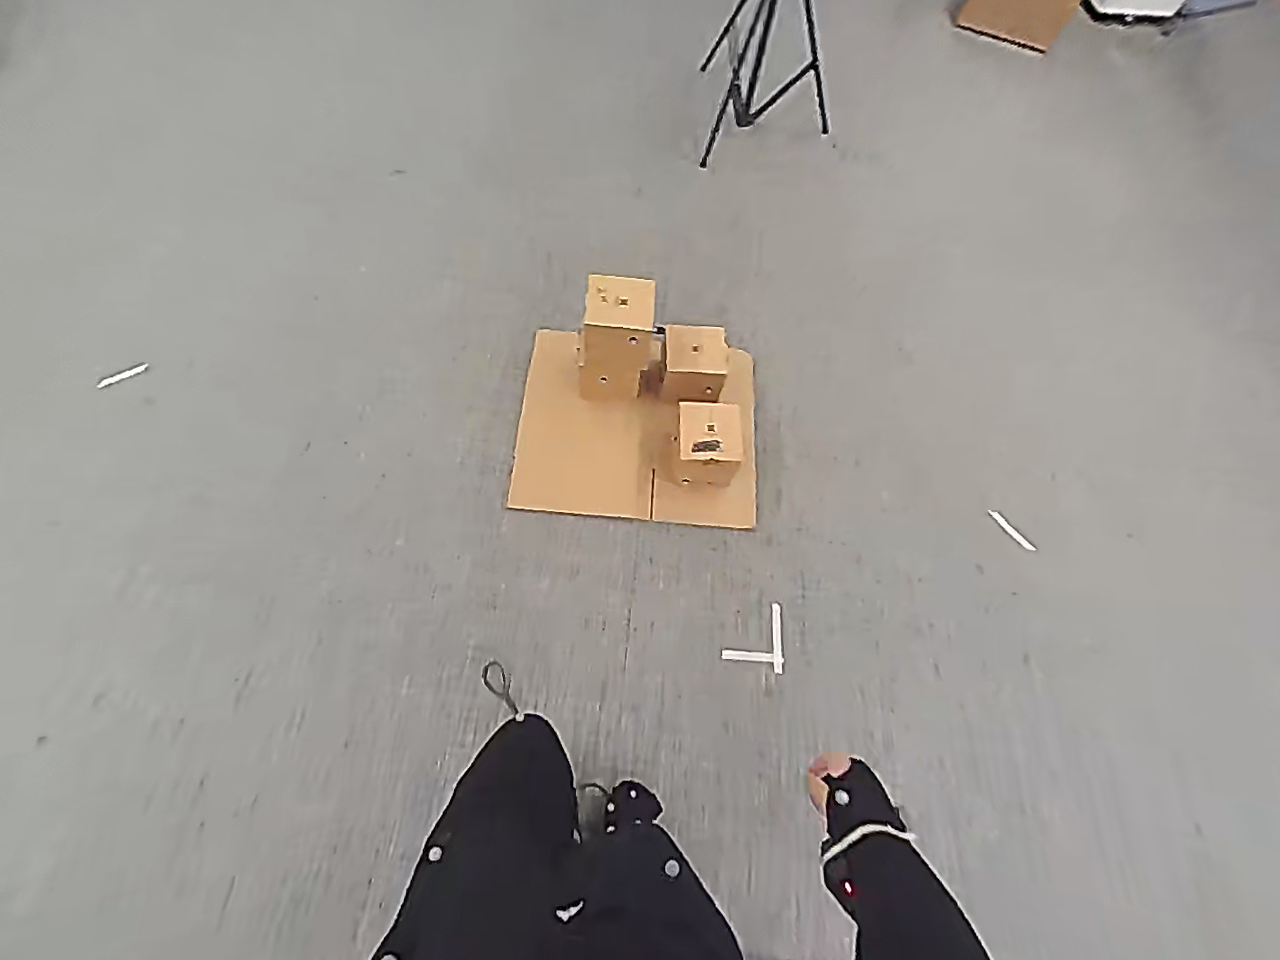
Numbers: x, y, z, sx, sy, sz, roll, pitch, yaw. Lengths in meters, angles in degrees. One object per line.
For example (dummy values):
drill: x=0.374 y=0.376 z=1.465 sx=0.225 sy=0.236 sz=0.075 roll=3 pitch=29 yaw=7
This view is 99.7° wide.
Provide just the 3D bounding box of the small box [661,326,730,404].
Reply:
small box: x=0.159 y=-0.335 z=1.602 sx=0.179 sy=0.176 sz=0.168 roll=1 pitch=66 yaw=-3

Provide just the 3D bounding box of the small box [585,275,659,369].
small box: x=-0.050 y=-0.413 z=1.434 sx=0.179 sy=0.176 sz=0.168 roll=5 pitch=65 yaw=-2

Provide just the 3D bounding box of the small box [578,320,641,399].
small box: x=-0.085 y=-0.350 z=1.585 sx=0.179 sy=0.176 sz=0.168 roll=1 pitch=67 yaw=-3

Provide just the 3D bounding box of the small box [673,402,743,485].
small box: x=0.184 y=-0.096 z=1.497 sx=0.168 sy=0.176 sz=0.179 roll=2 pitch=66 yaw=-3
